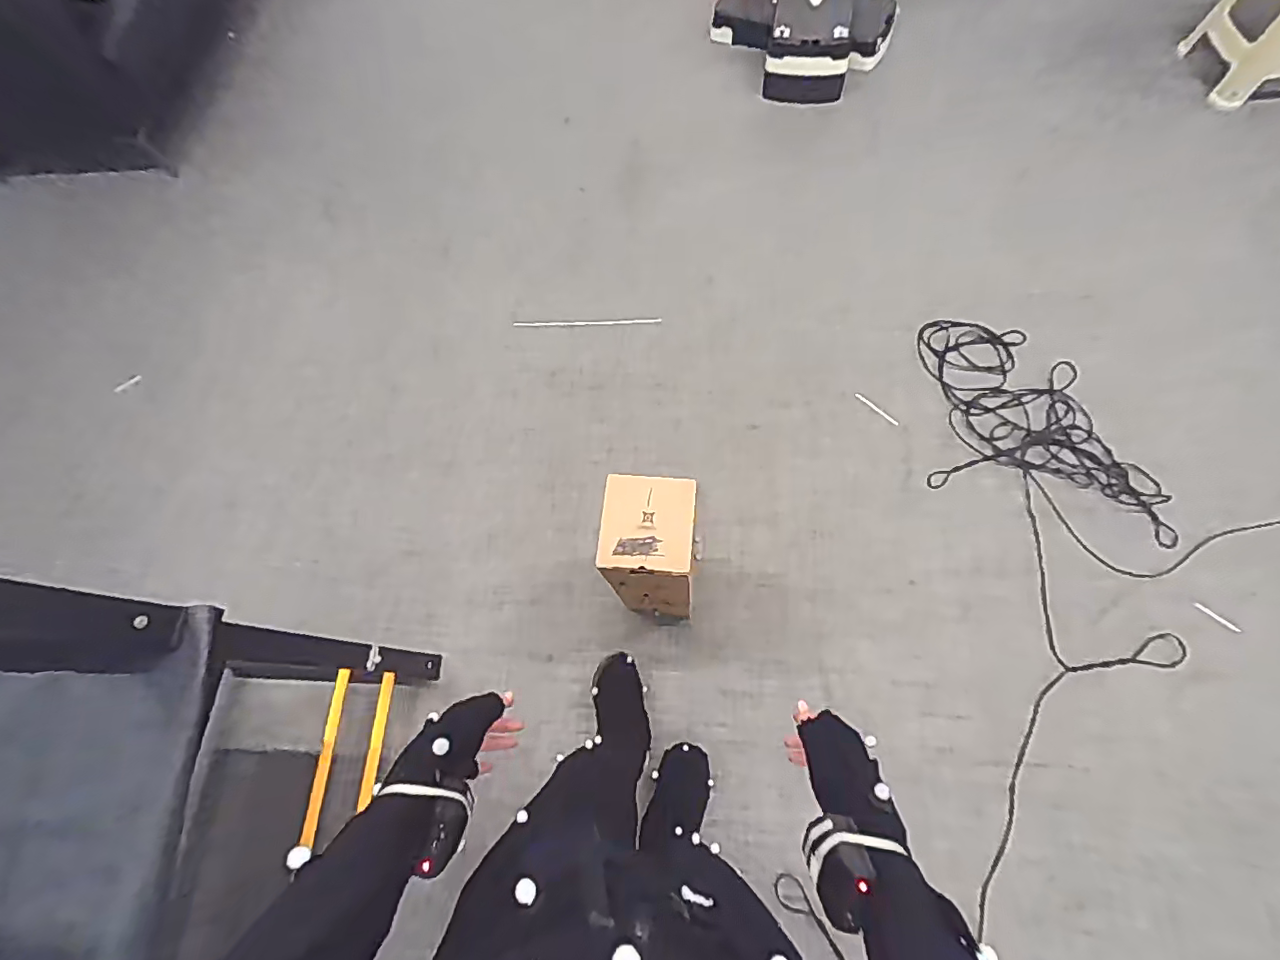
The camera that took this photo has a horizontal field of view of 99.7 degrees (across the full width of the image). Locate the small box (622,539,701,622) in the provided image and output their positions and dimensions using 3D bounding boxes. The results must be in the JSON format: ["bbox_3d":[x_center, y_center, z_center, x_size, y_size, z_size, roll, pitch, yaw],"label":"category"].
[{"bbox_3d":[0.058,0.241,1.330,0.168,0.176,0.179,5,69,9],"label":"small box"}]

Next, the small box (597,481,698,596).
[{"bbox_3d":[0.022,0.117,1.030,0.168,0.176,0.179,4,68,7],"label":"small box"}]
